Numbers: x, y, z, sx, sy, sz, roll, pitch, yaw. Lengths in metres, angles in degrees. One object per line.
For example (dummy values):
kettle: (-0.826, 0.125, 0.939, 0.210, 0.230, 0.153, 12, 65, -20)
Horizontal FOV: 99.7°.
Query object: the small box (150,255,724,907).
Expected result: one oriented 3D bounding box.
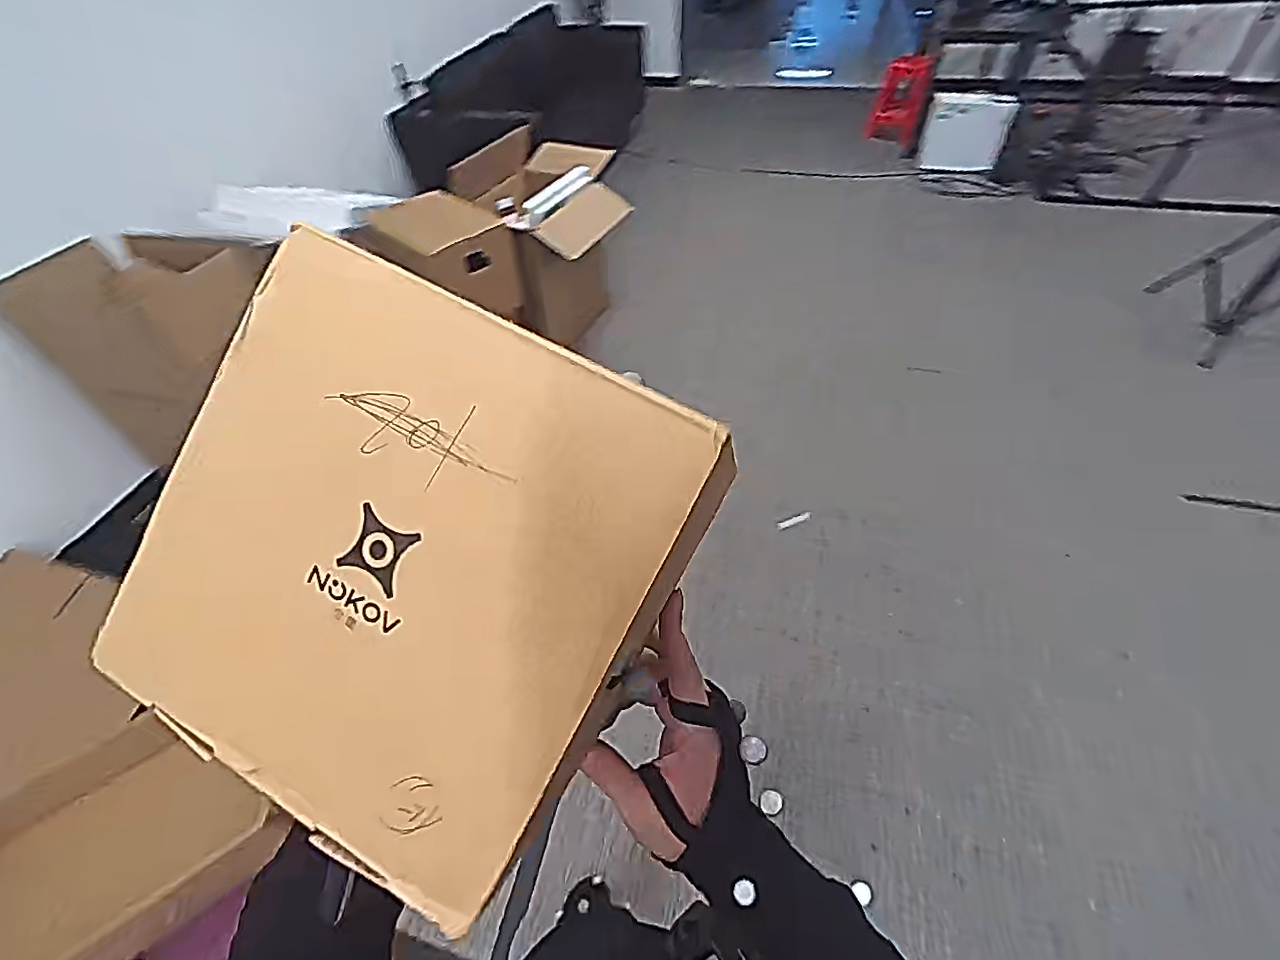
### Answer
small box: (-0.065, 0.033, 0.266, 0.168, 0.176, 0.179, 27, 92, 10)
